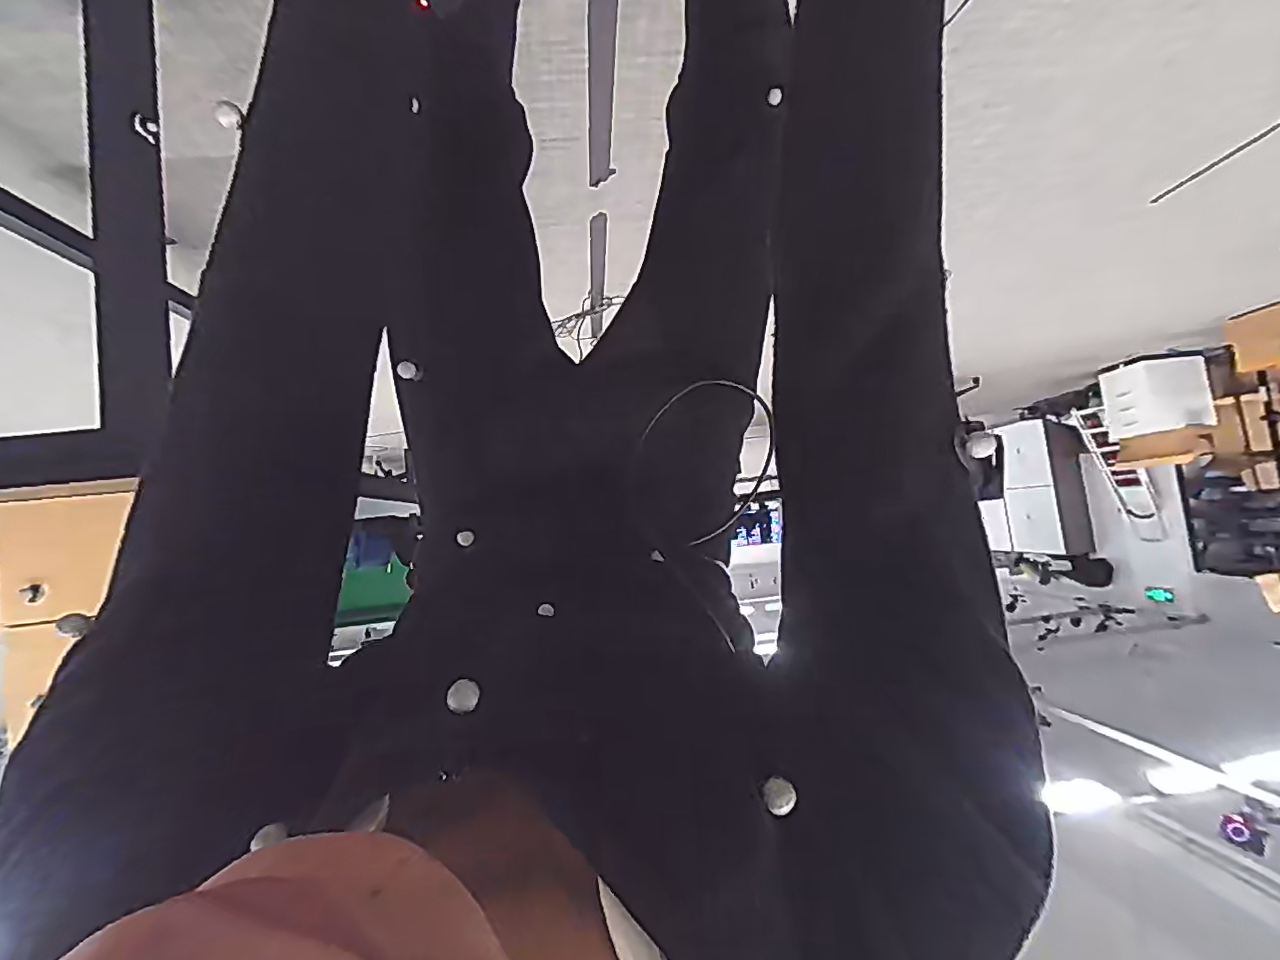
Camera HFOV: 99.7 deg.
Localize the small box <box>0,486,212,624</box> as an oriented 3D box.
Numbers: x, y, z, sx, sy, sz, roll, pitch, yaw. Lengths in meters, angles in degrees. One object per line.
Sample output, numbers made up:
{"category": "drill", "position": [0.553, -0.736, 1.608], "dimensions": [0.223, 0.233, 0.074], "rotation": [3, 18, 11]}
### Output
{"category": "small box", "position": [-0.773, 0.104, 0.794], "dimensions": [0.179, 0.176, 0.168], "rotation": [-5, 177, -9]}
